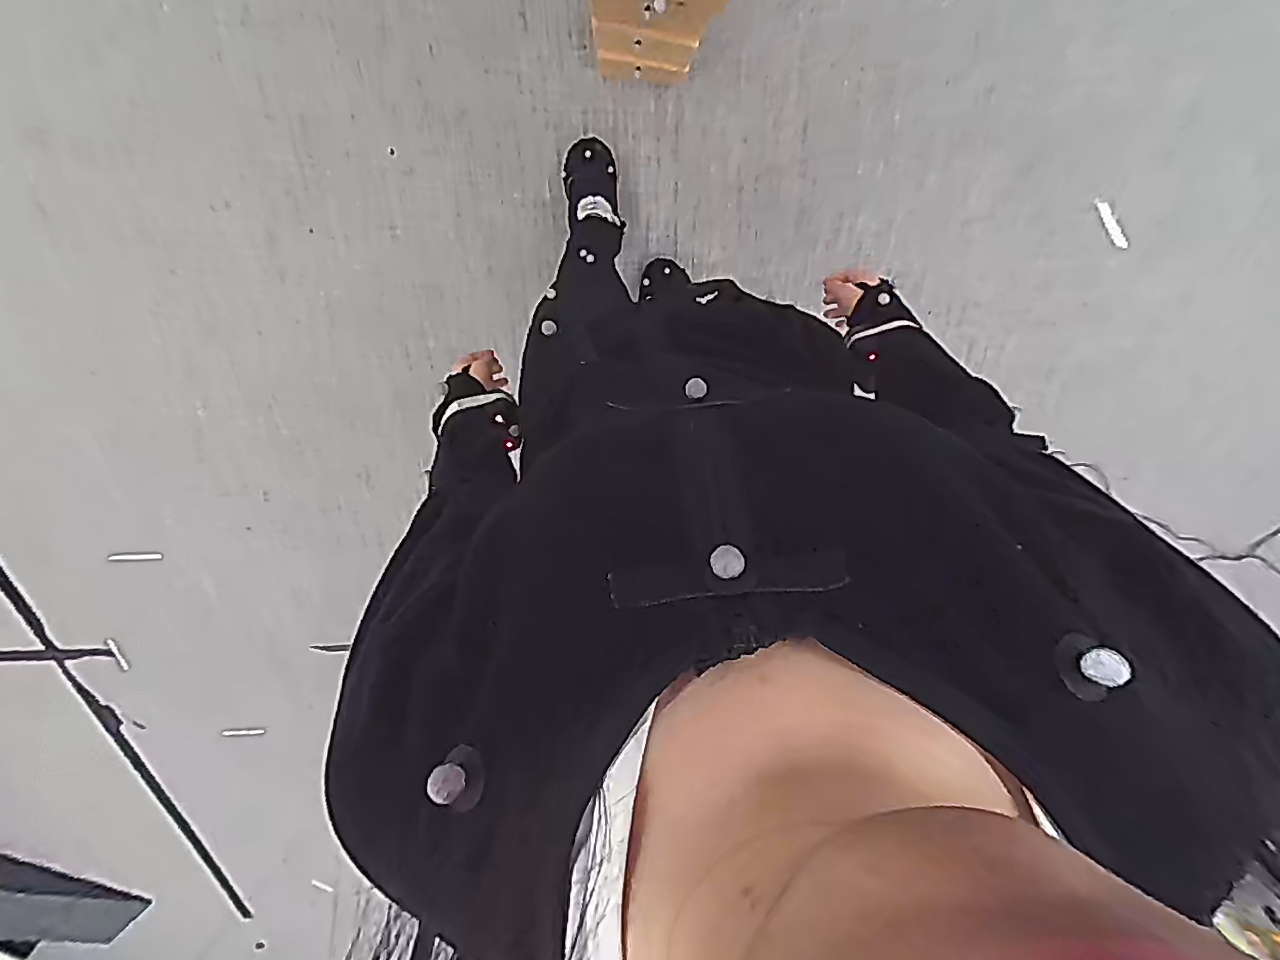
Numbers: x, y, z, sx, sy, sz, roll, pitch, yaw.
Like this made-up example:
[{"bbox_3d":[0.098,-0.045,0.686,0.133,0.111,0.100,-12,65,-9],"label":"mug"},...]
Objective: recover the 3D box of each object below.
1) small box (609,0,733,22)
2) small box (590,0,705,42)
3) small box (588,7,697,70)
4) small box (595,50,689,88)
[{"bbox_3d":[0.041,-0.663,0.614,0.168,0.176,0.179,5,119,-5],"label":"small box"},{"bbox_3d":[0.021,-0.744,0.757,0.179,0.176,0.168,5,119,-6],"label":"small box"},{"bbox_3d":[0.014,-0.813,0.903,0.179,0.176,0.168,8,118,-7],"label":"small box"},{"bbox_3d":[0.007,-0.882,1.052,0.179,0.176,0.168,5,118,-5],"label":"small box"}]
